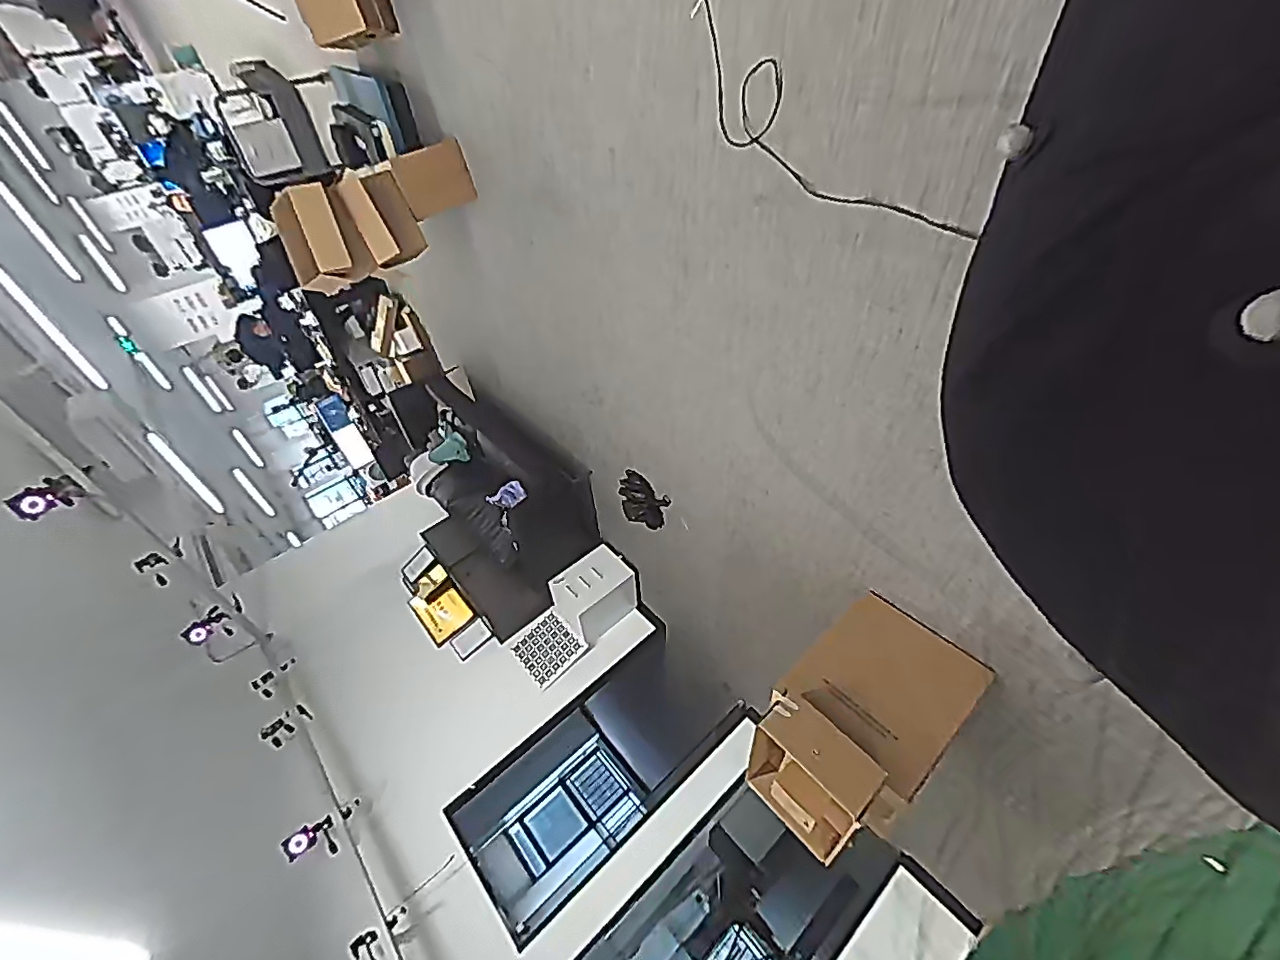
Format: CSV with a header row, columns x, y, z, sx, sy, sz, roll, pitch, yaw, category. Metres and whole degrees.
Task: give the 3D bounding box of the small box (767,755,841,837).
x,y,z,sx,sy,sz,roll,pitch,yaw,category
0.572,1.102,1.903,0.179,0.176,0.168,38,151,36,small box
